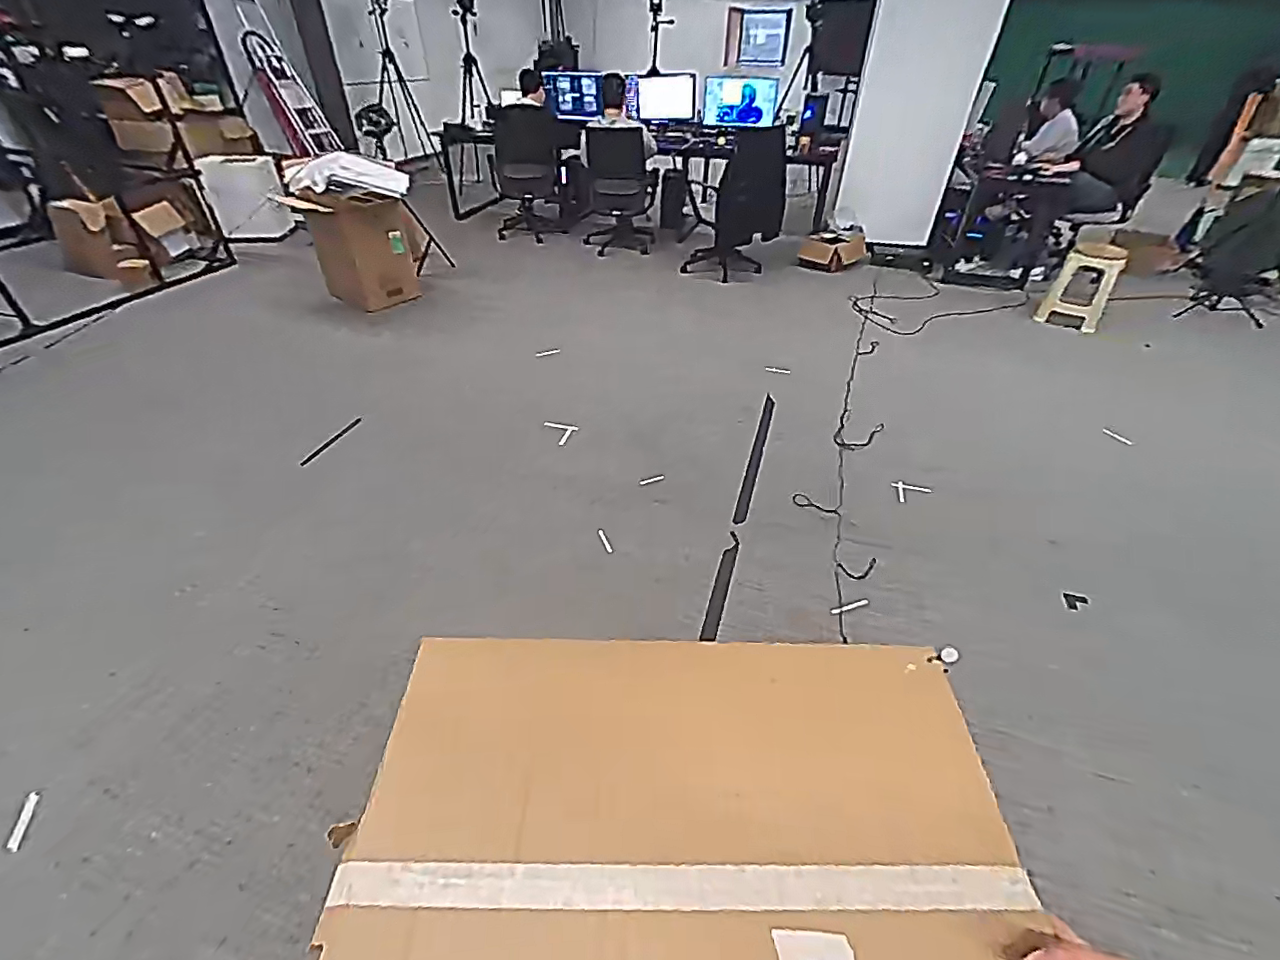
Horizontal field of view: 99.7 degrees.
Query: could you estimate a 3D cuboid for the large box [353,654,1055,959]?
[{"bbox_3d":[0.032,0.355,0.430,0.408,0.320,0.320,1,46,-1],"label":"large box"}]
